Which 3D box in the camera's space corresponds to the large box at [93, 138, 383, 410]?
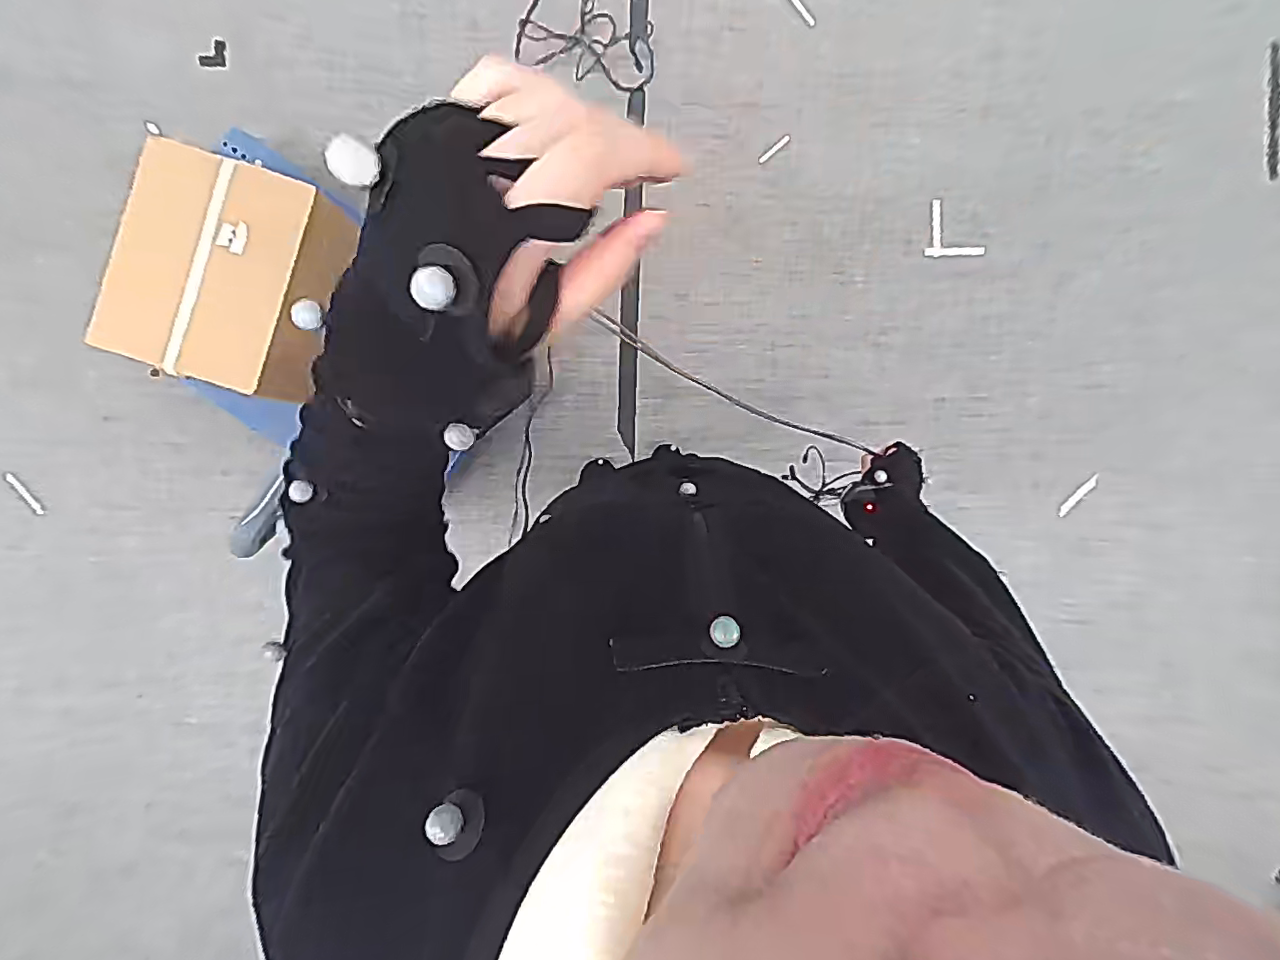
[{"bbox_3d":[-0.803,-0.392,1.137,0.320,0.320,0.408,17,90,-3],"label":"large box"}]
